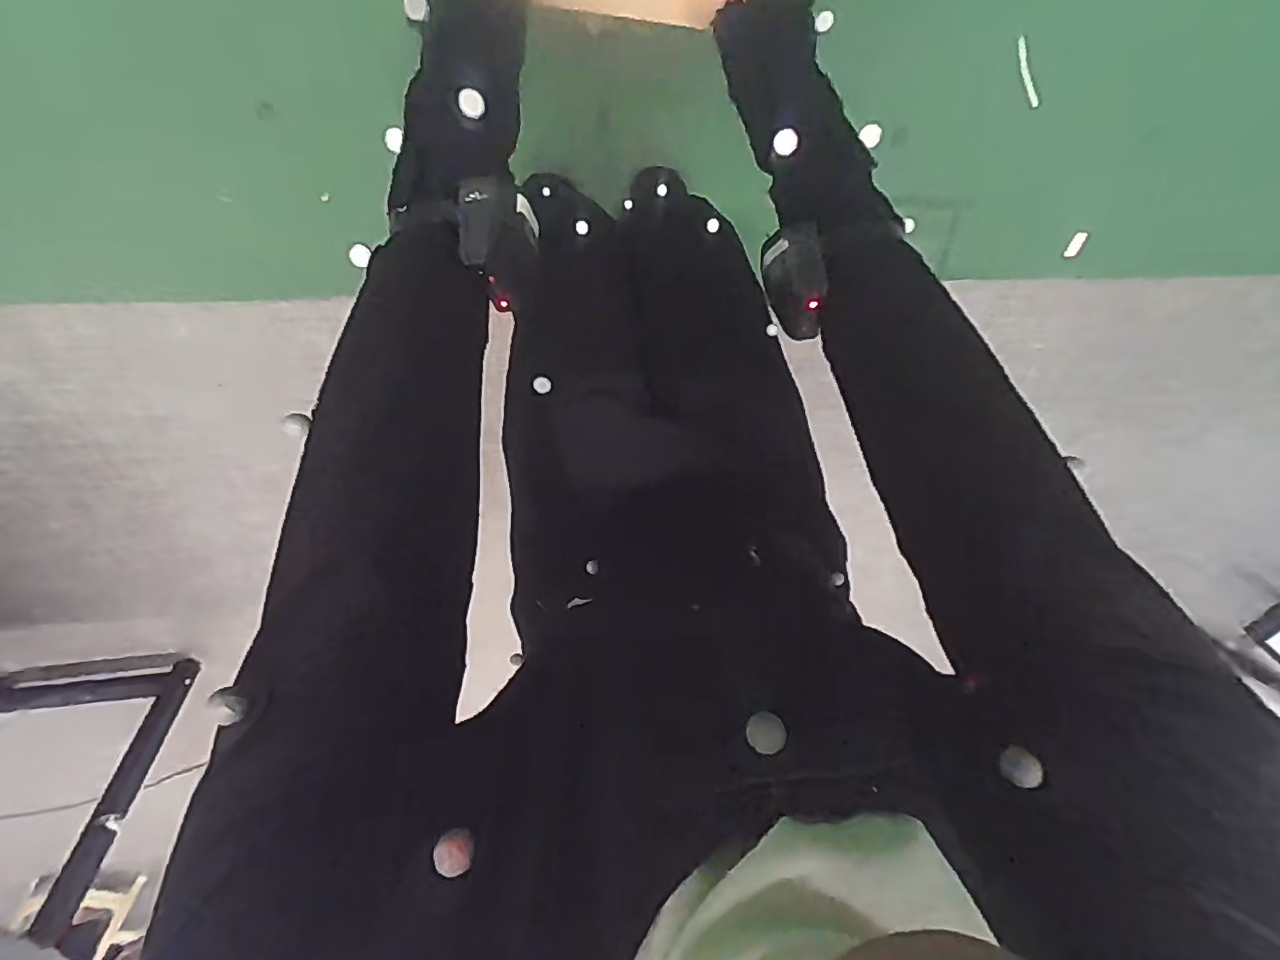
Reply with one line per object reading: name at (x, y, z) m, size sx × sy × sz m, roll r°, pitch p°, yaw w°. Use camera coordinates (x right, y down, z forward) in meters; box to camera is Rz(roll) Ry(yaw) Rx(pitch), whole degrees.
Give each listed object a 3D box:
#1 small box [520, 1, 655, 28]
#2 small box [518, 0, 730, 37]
small box at (-0.057, -0.660, 0.634) m, size 0.168 × 0.176 × 0.179 m, roll -1°, pitch 132°, yaw -12°
small box at (-0.015, -0.459, 0.401) m, size 0.168 × 0.176 × 0.179 m, roll 0°, pitch 133°, yaw -11°
